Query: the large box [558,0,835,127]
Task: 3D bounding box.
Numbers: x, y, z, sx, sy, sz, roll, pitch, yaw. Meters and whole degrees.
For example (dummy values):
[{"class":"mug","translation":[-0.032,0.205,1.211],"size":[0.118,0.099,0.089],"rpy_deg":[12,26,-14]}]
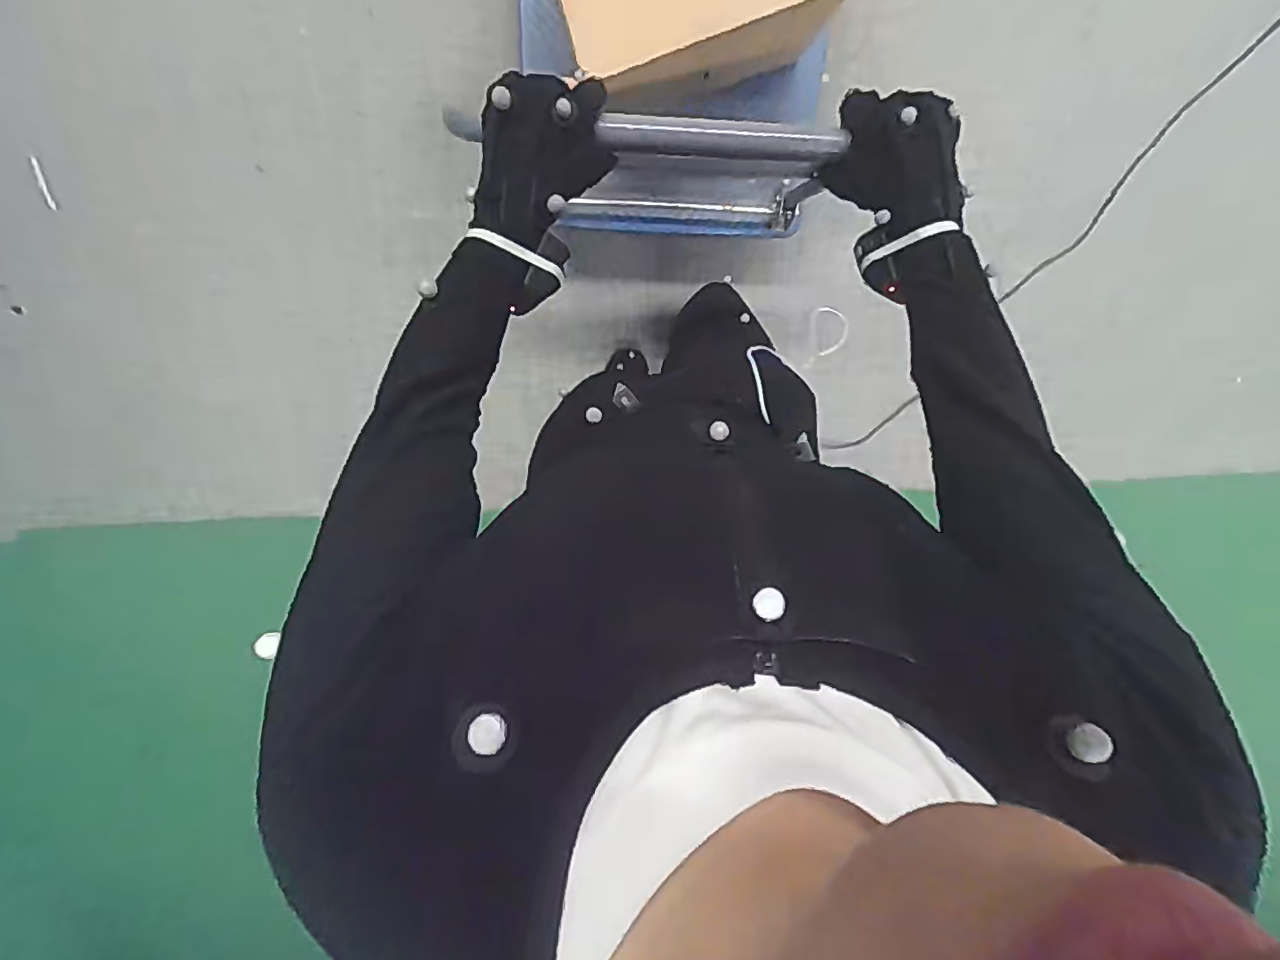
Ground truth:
[{"class":"large box","translation":[0.064,-0.826,0.855],"size":[0.408,0.320,0.320],"rpy_deg":[-16,110,7]}]
